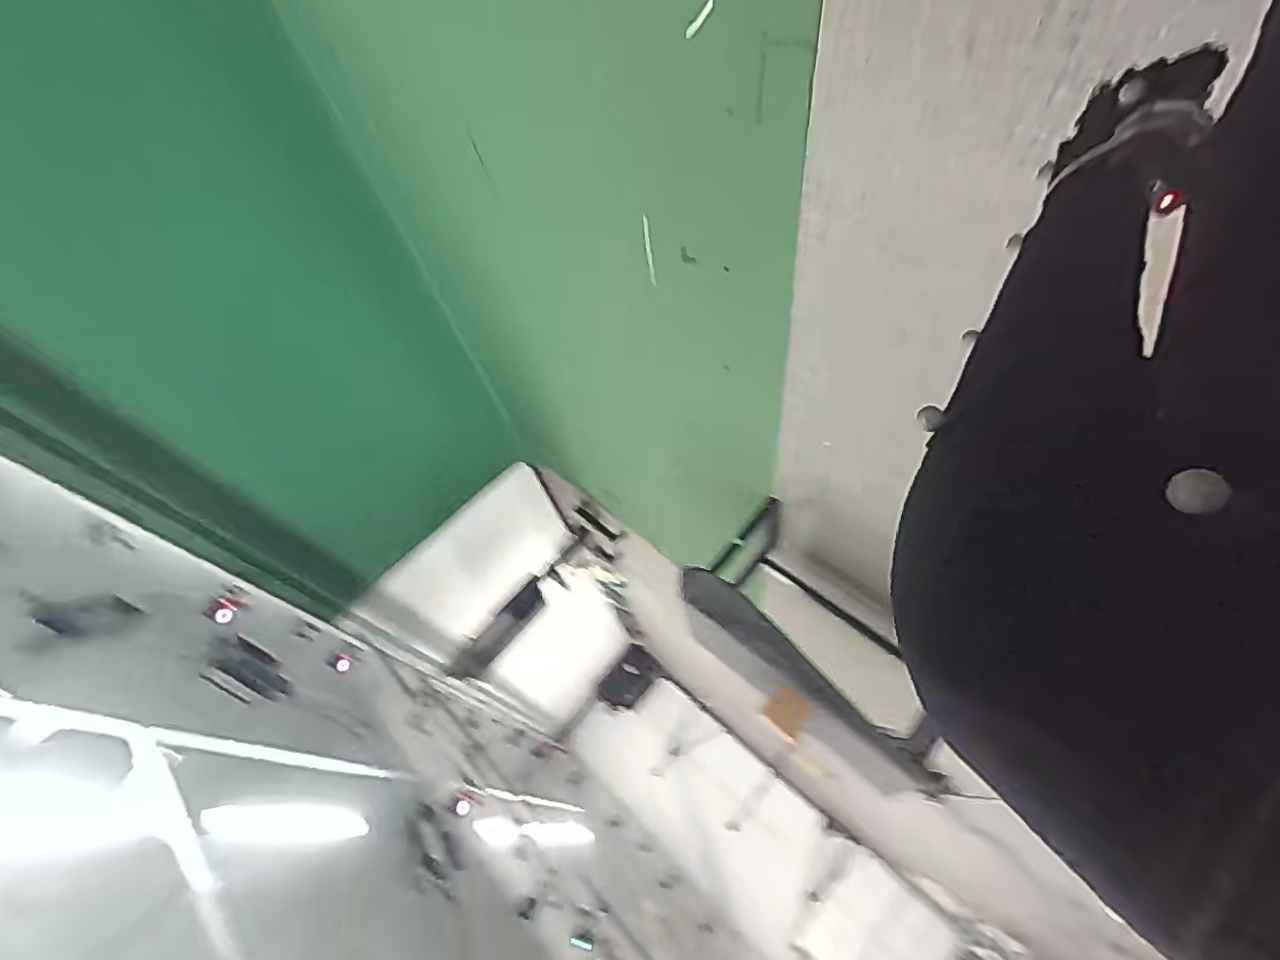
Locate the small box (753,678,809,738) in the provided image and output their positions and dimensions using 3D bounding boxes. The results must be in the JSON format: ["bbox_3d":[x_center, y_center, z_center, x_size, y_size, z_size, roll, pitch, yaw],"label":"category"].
[{"bbox_3d":[0.625,1.010,2.411,0.179,0.176,0.168,34,160,28],"label":"small box"}]
